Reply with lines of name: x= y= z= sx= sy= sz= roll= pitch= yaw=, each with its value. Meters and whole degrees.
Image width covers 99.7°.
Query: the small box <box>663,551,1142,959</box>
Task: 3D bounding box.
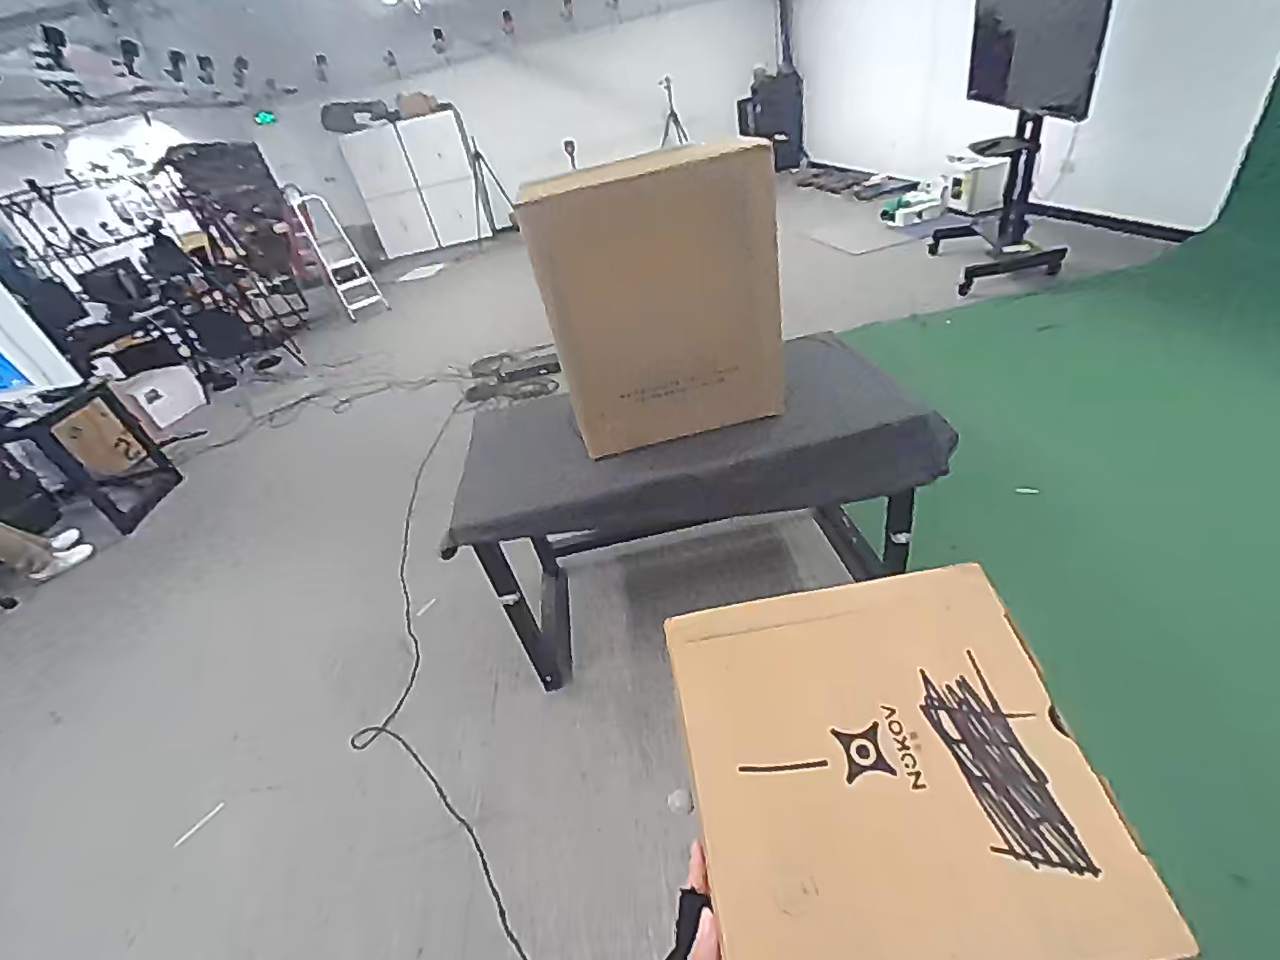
small box: x=0.116 y=0.166 z=0.327 sx=0.179 sy=0.176 sz=0.168 roll=-11 pitch=53 yaw=1
